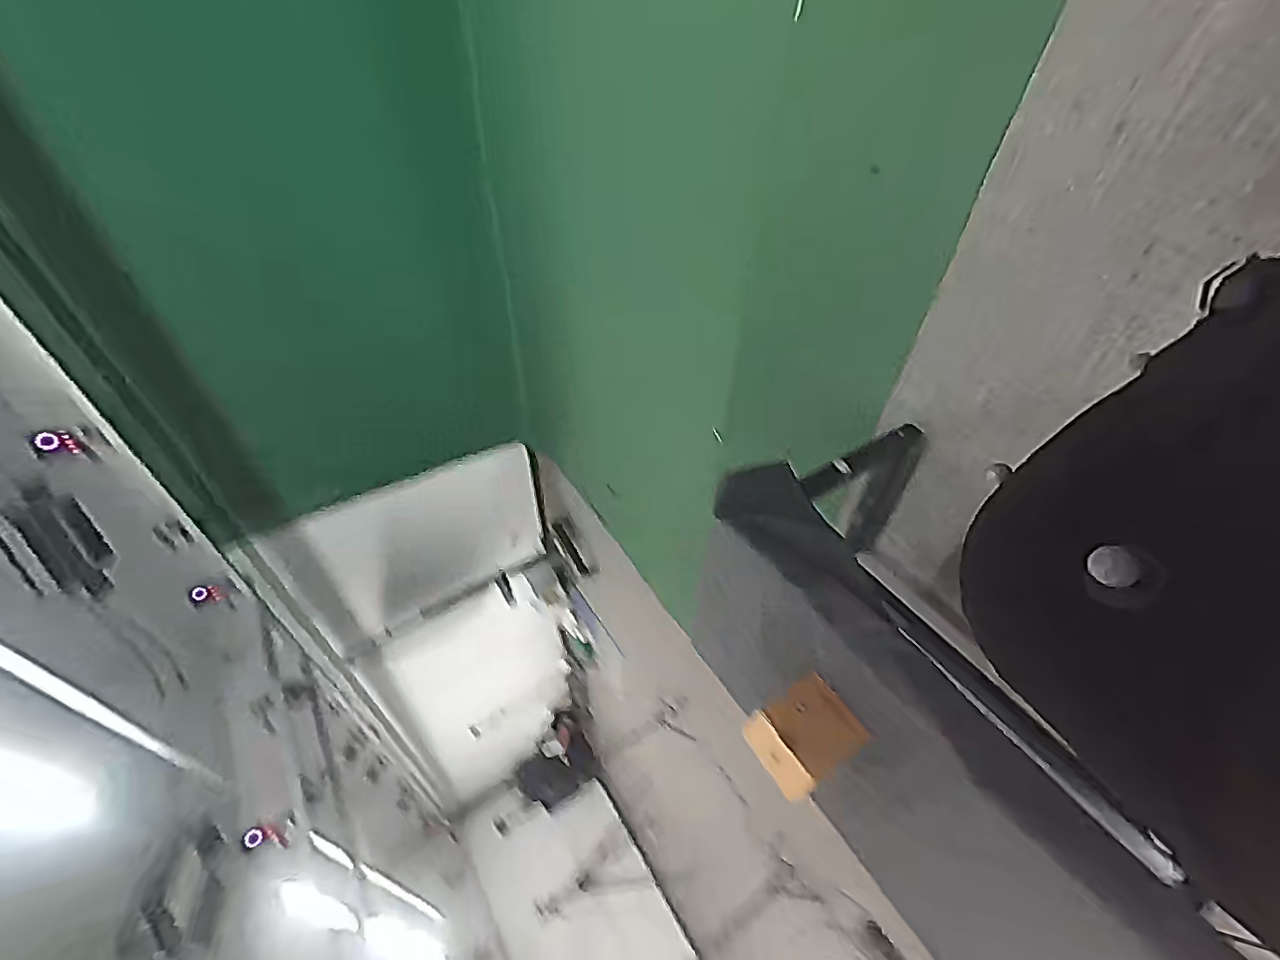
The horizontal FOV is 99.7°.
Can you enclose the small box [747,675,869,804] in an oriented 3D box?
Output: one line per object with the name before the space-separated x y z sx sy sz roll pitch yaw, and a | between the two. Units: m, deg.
small box | 0.362 0.556 1.172 0.168 0.176 0.179 50 153 34
